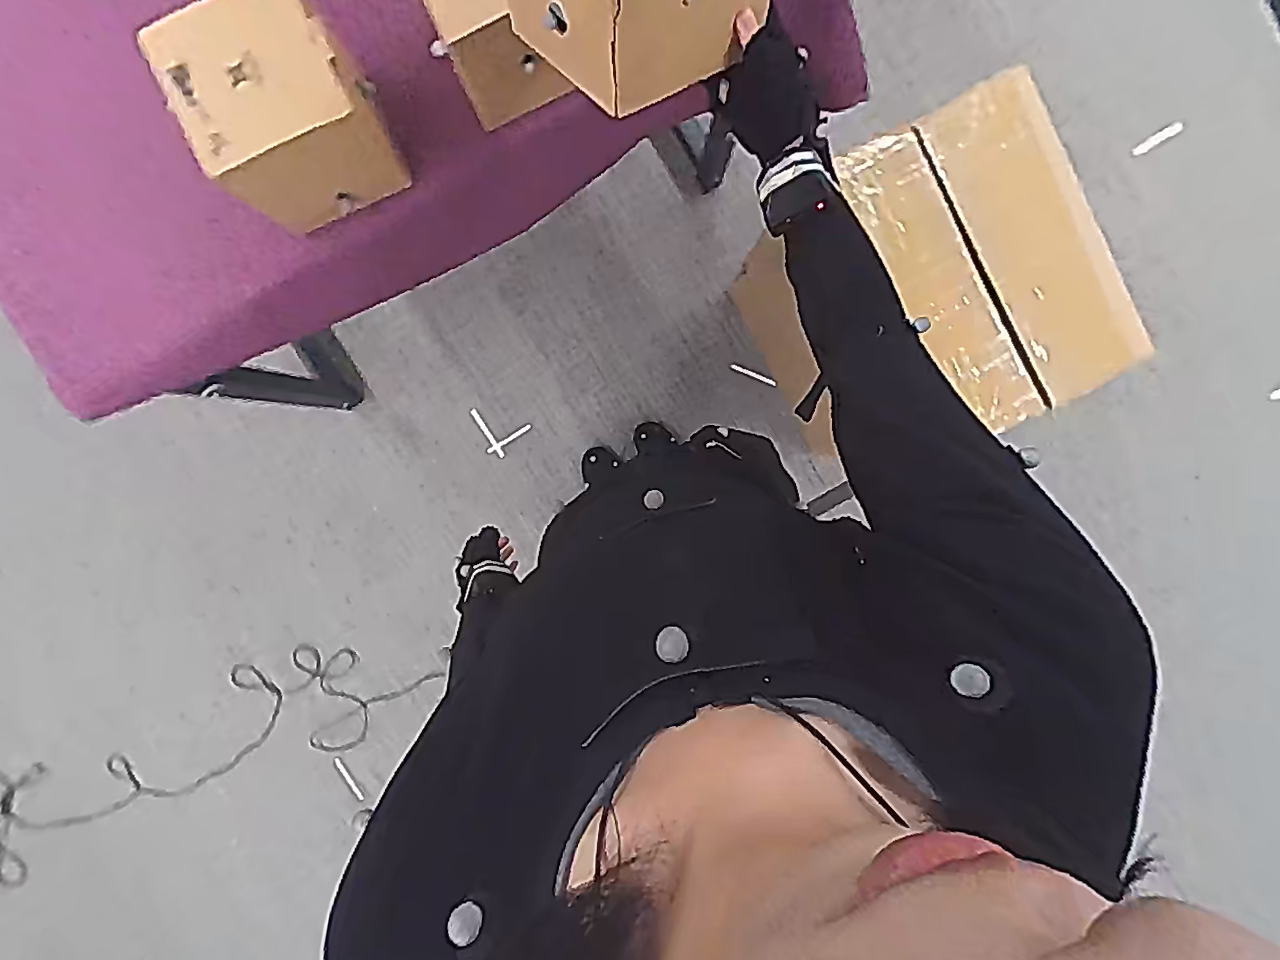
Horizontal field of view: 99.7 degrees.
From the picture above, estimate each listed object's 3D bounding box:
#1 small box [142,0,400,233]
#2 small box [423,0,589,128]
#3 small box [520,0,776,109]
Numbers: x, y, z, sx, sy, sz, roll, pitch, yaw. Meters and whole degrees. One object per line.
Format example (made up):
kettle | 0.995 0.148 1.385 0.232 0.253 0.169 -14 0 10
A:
small box | -0.420 -0.438 0.658 0.179 0.176 0.168 -25 94 -1
small box | -0.166 -0.580 0.654 0.179 0.176 0.168 -26 93 1
small box | 0.005 -0.457 0.443 0.179 0.168 0.176 -35 72 -16
